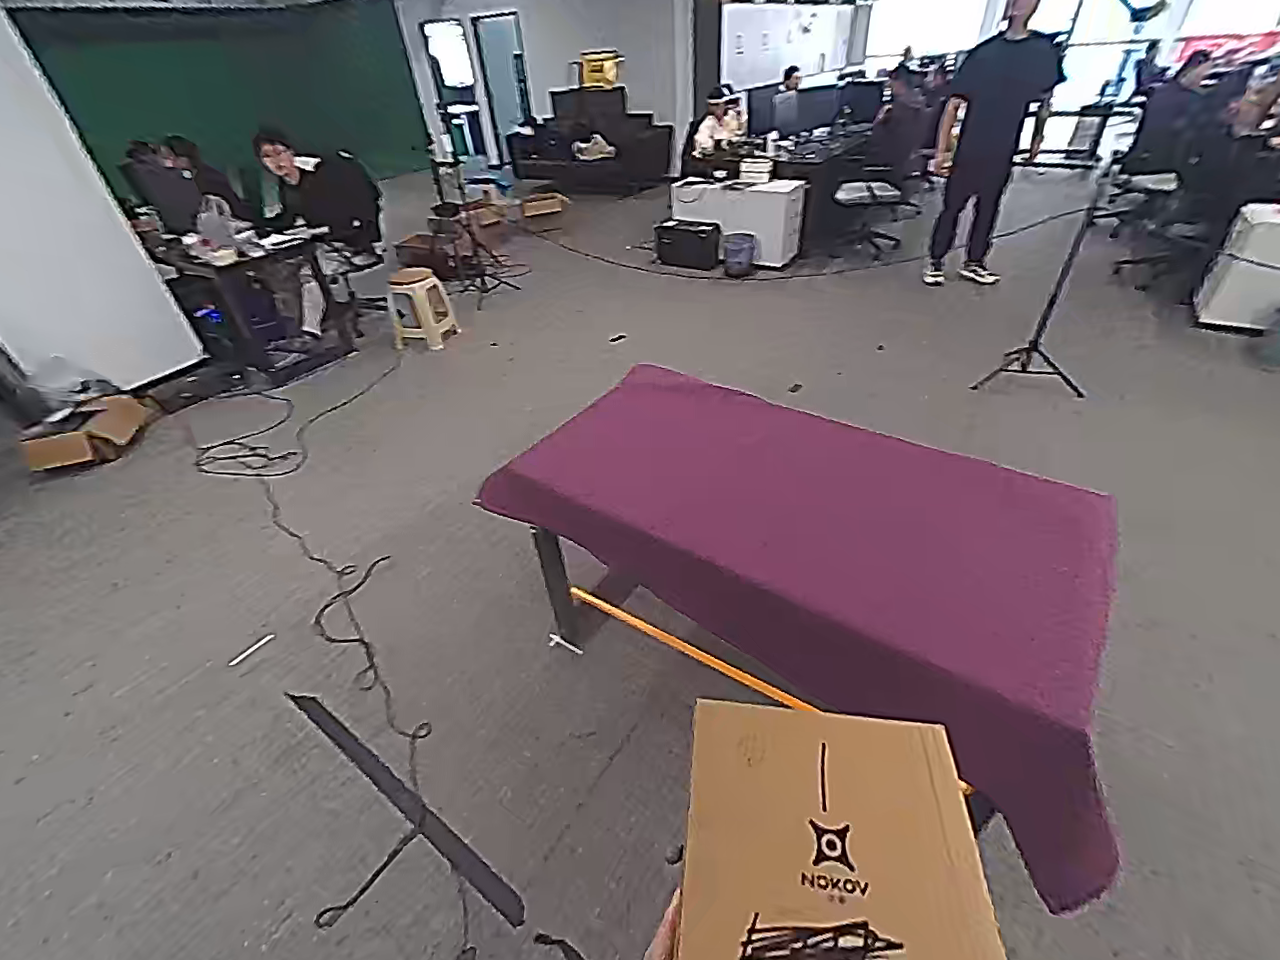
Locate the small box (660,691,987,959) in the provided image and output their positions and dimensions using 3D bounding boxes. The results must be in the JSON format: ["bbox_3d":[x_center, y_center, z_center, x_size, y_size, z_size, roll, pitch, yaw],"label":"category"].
[{"bbox_3d":[0.105,0.271,0.365,0.168,0.176,0.179,3,43,8],"label":"small box"}]
